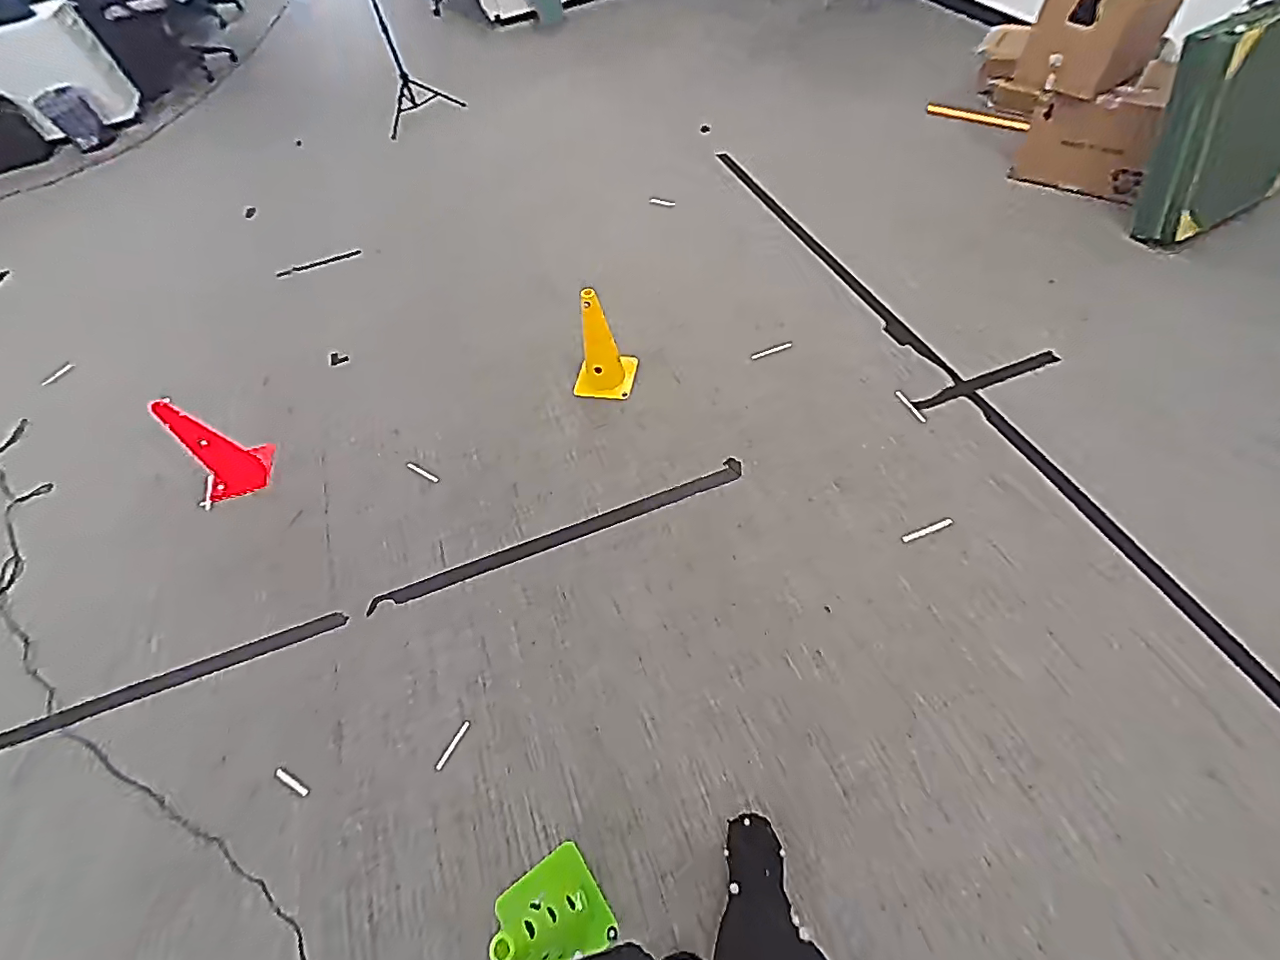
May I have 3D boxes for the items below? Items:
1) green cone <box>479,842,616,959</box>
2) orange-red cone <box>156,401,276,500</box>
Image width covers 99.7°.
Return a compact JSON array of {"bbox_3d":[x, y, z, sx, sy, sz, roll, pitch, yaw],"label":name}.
[{"bbox_3d":[-0.197,0.799,0.960,0.202,0.368,0.200,-34,58,-13],"label":"green cone"},{"bbox_3d":[-1.384,-0.123,1.731,0.199,0.360,0.198,-14,56,-3],"label":"orange-red cone"}]
